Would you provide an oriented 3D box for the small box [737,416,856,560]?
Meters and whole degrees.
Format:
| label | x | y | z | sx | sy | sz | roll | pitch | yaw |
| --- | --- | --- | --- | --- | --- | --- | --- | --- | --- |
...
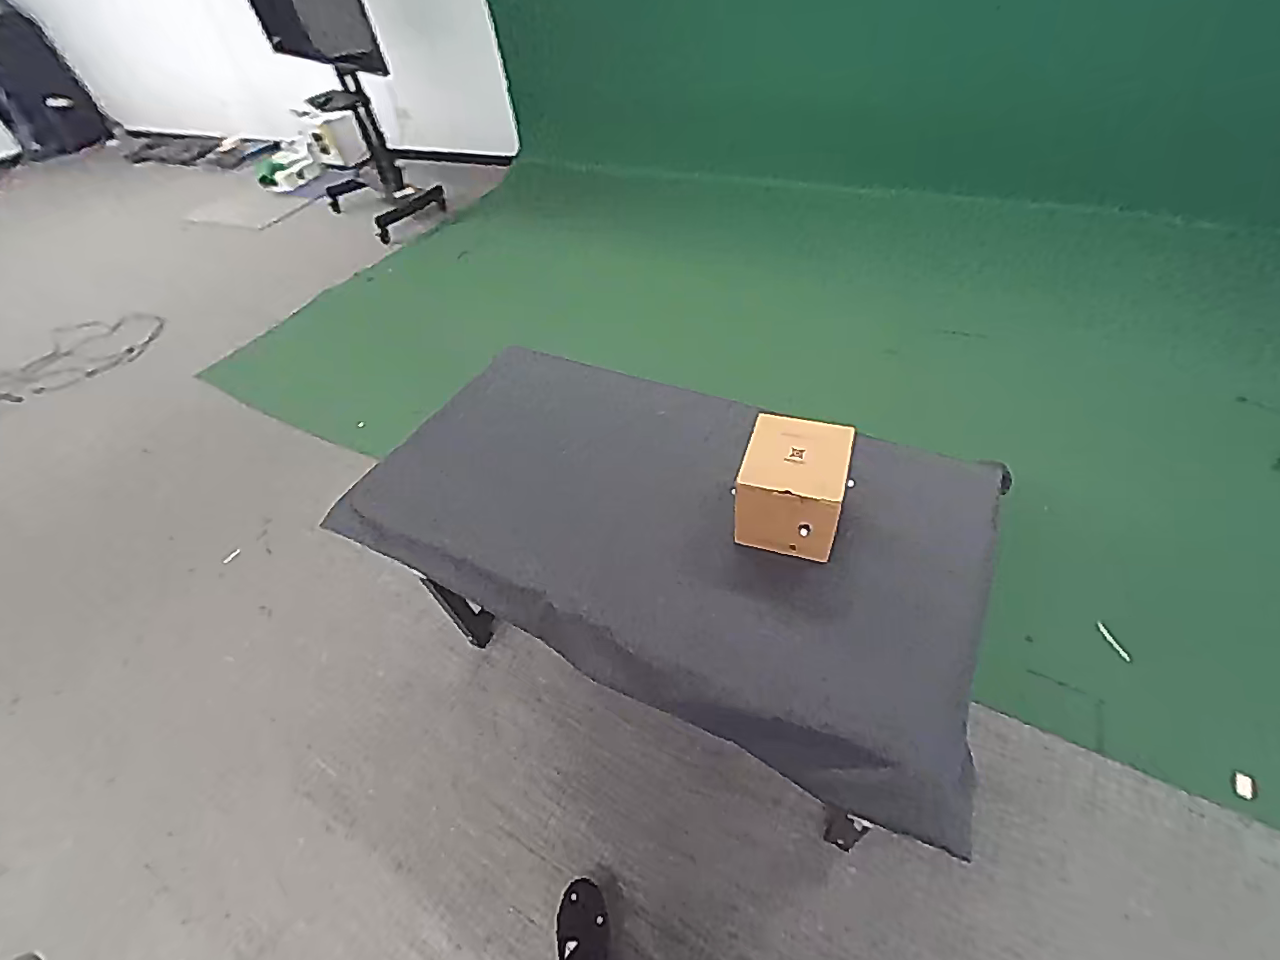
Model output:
| label | x | y | z | sx | sy | sz | roll | pitch | yaw |
| --- | --- | --- | --- | --- | --- | --- | --- | --- | --- |
| small box | 0.272 | 0.016 | 0.956 | 0.168 | 0.176 | 0.179 | 12 | 50 | 17 |
